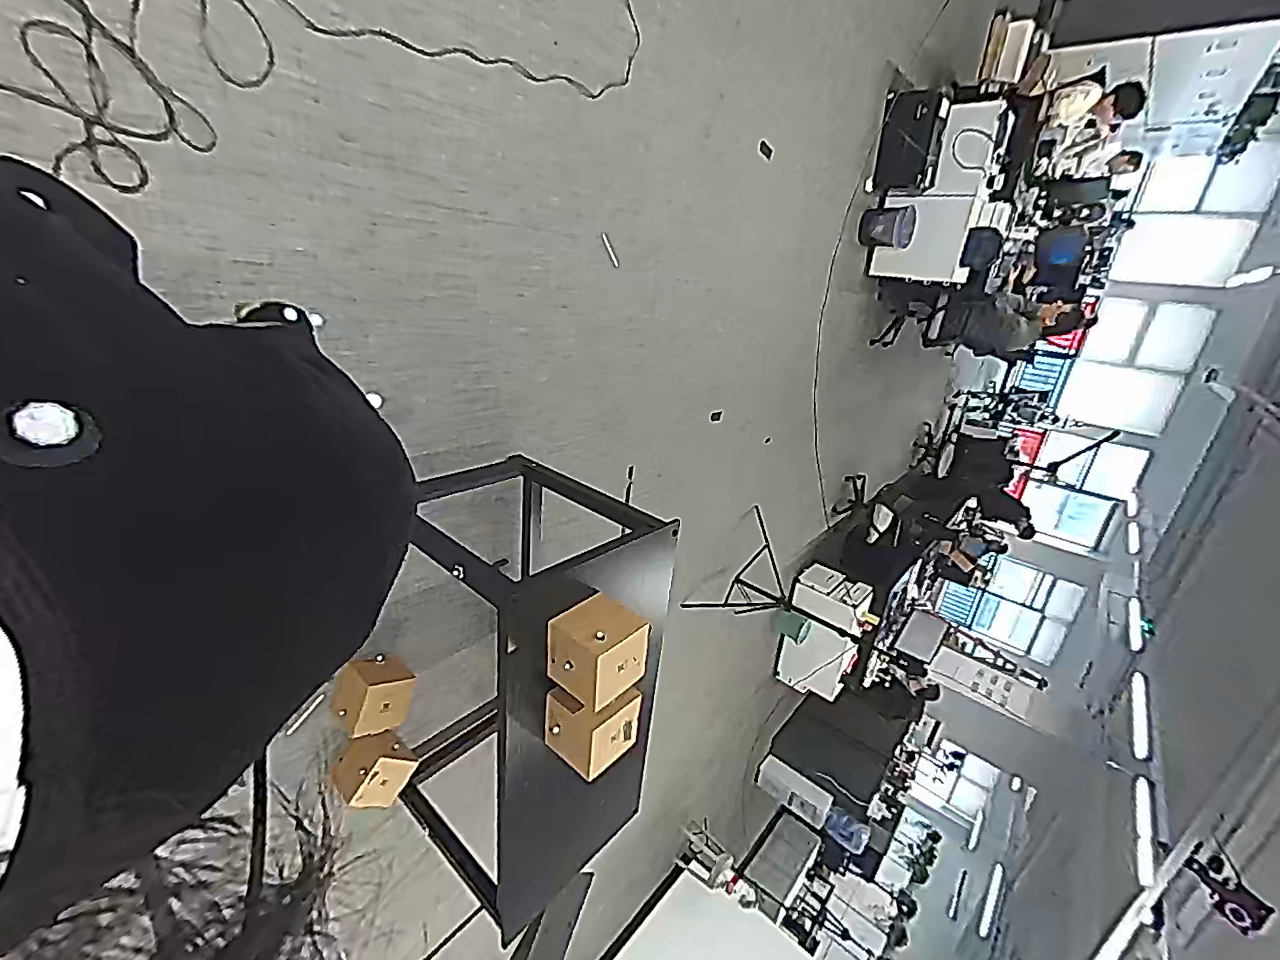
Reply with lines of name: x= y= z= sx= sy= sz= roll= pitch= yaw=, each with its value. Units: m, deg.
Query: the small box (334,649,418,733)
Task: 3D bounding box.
small box: x=-0.852 y=0.670 z=1.736 sx=0.168 sy=0.176 sz=0.179 roll=12 pitch=98 yaw=-55

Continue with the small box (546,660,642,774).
small box: x=-0.119 y=0.597 z=1.388 sx=0.179 sy=0.176 sz=0.168 roll=-19 pitch=122 yaw=-46

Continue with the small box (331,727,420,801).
small box: x=-0.894 y=0.956 z=1.829 sx=0.168 sy=0.176 sz=0.179 roll=-58 pitch=143 yaw=-14
